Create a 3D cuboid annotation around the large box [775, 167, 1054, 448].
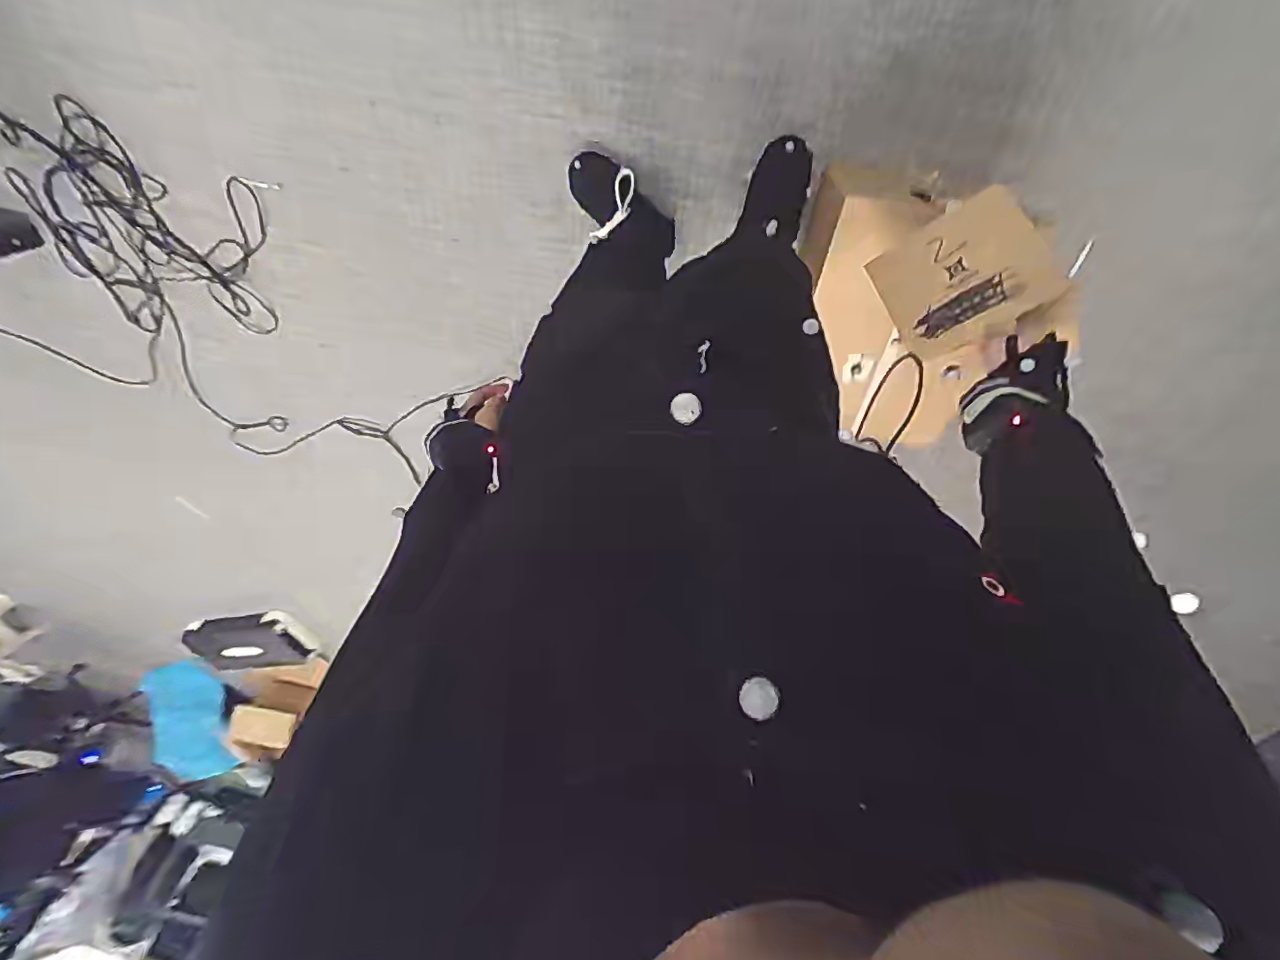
[{"bbox_3d":[0.463,-0.331,1.034,0.320,0.320,0.408,11,131,4],"label":"large box"}]
